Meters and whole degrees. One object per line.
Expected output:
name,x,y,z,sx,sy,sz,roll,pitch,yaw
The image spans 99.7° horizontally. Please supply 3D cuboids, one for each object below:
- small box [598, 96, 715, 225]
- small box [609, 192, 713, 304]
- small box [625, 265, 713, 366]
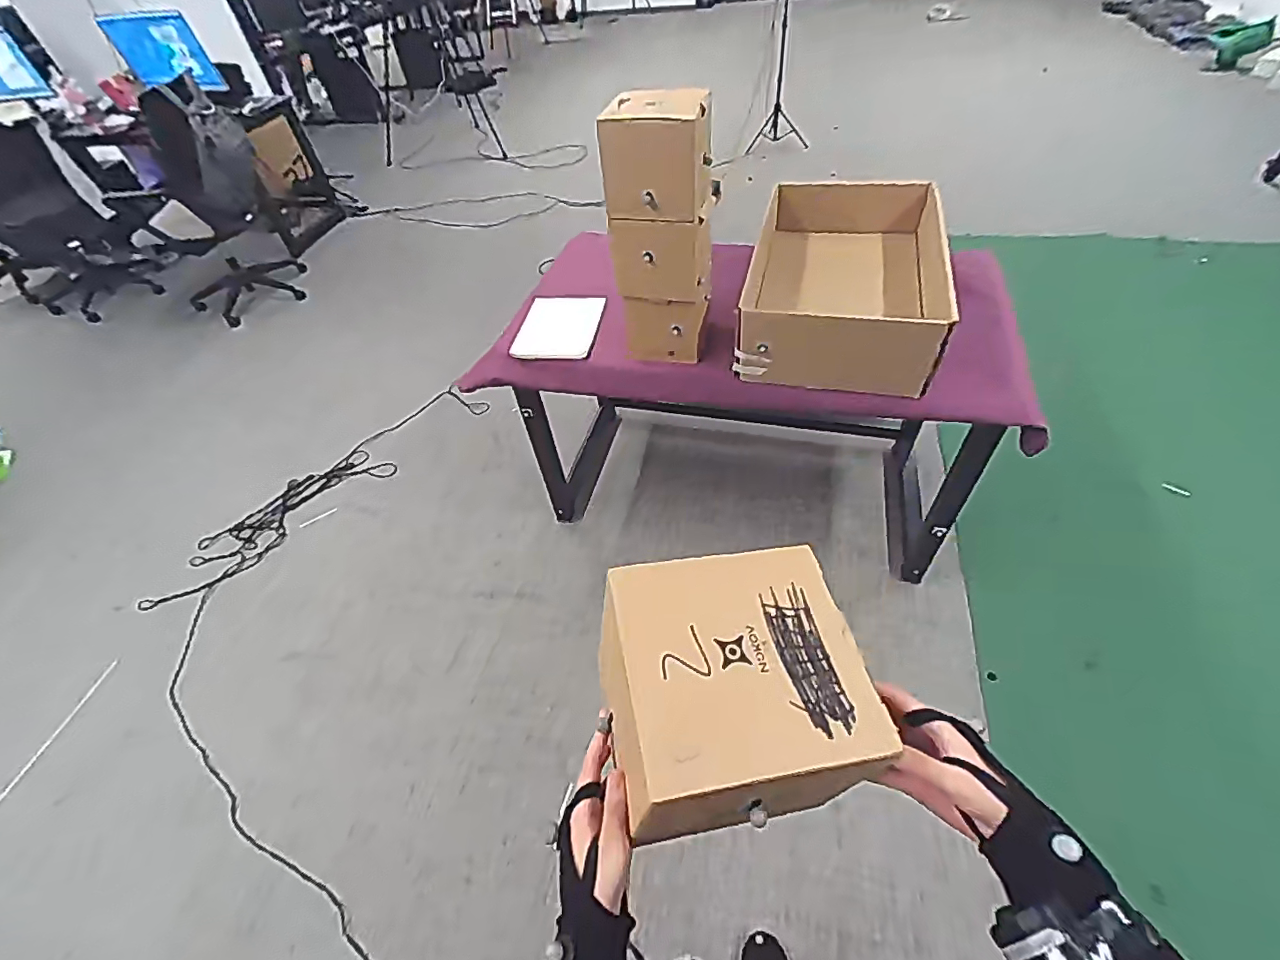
small box,0.037,-0.597,1.015,0.179,0.176,0.168,9,49,13
small box,0.051,-0.488,1.138,0.179,0.176,0.168,9,49,14
small box,0.075,-0.387,1.264,0.168,0.176,0.179,9,49,14
